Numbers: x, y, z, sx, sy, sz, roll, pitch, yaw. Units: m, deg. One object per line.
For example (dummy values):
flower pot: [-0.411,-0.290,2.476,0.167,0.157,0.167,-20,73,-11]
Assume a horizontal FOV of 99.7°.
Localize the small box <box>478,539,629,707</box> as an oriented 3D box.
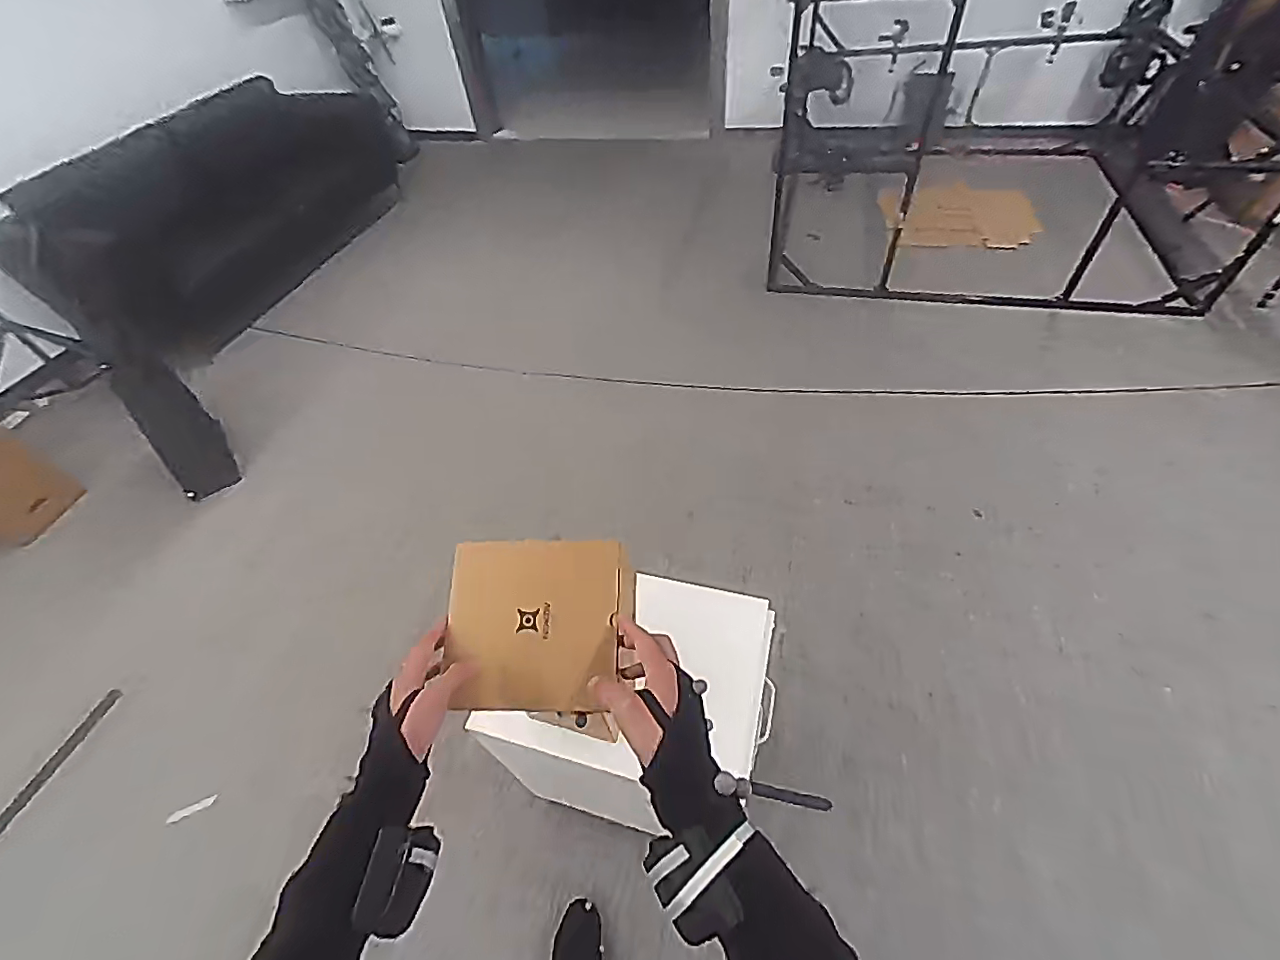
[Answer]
small box: [-0.122,0.225,0.853,0.168,0.176,0.179,11,50,17]
